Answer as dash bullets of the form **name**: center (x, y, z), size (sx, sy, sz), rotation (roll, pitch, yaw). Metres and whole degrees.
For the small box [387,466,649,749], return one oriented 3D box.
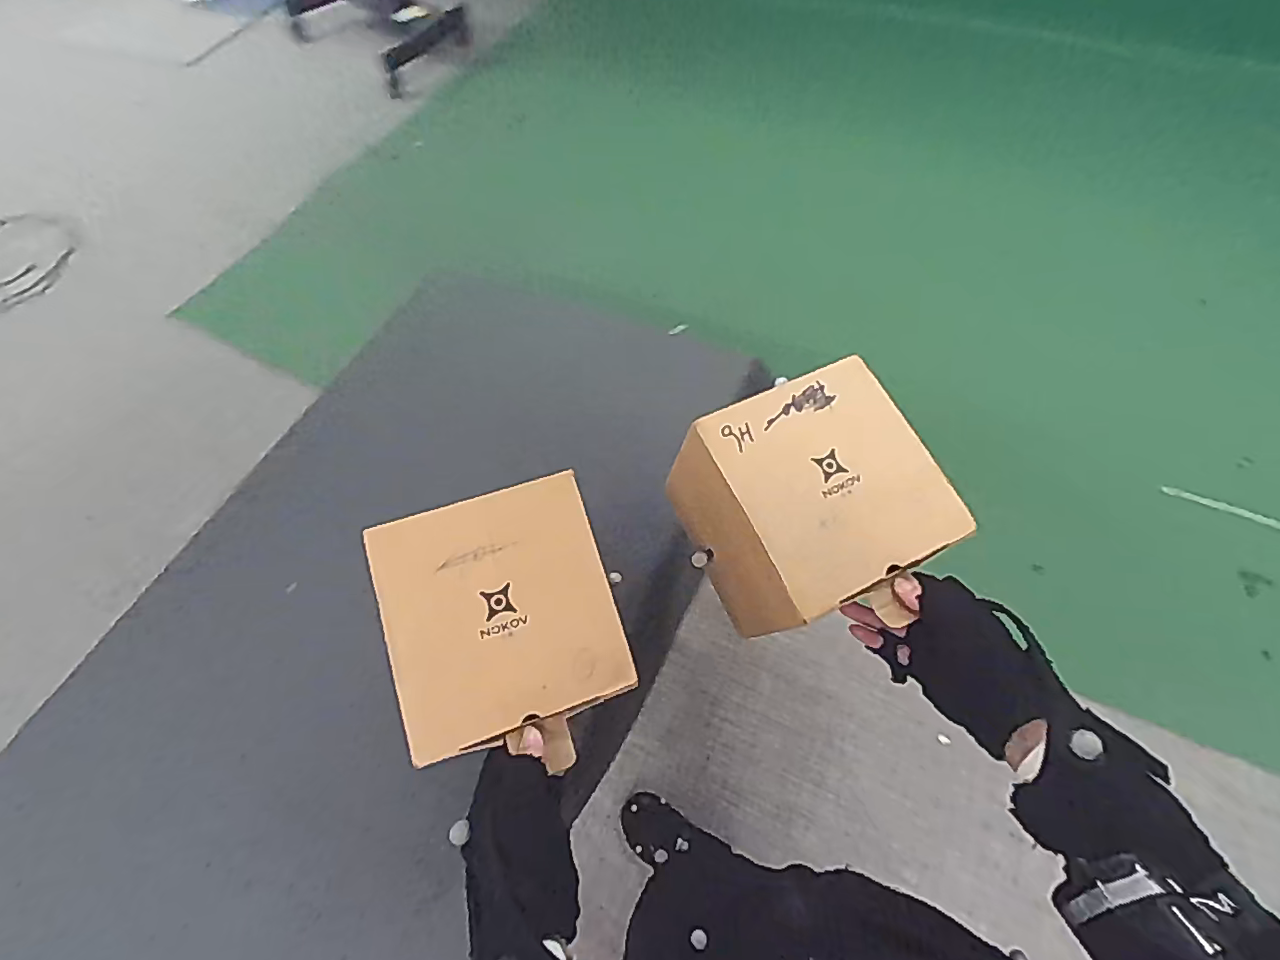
- **small box**: center (-0.101, 0.109, 0.487), size (0.168, 0.176, 0.179), rotation (-16, 76, -11)
